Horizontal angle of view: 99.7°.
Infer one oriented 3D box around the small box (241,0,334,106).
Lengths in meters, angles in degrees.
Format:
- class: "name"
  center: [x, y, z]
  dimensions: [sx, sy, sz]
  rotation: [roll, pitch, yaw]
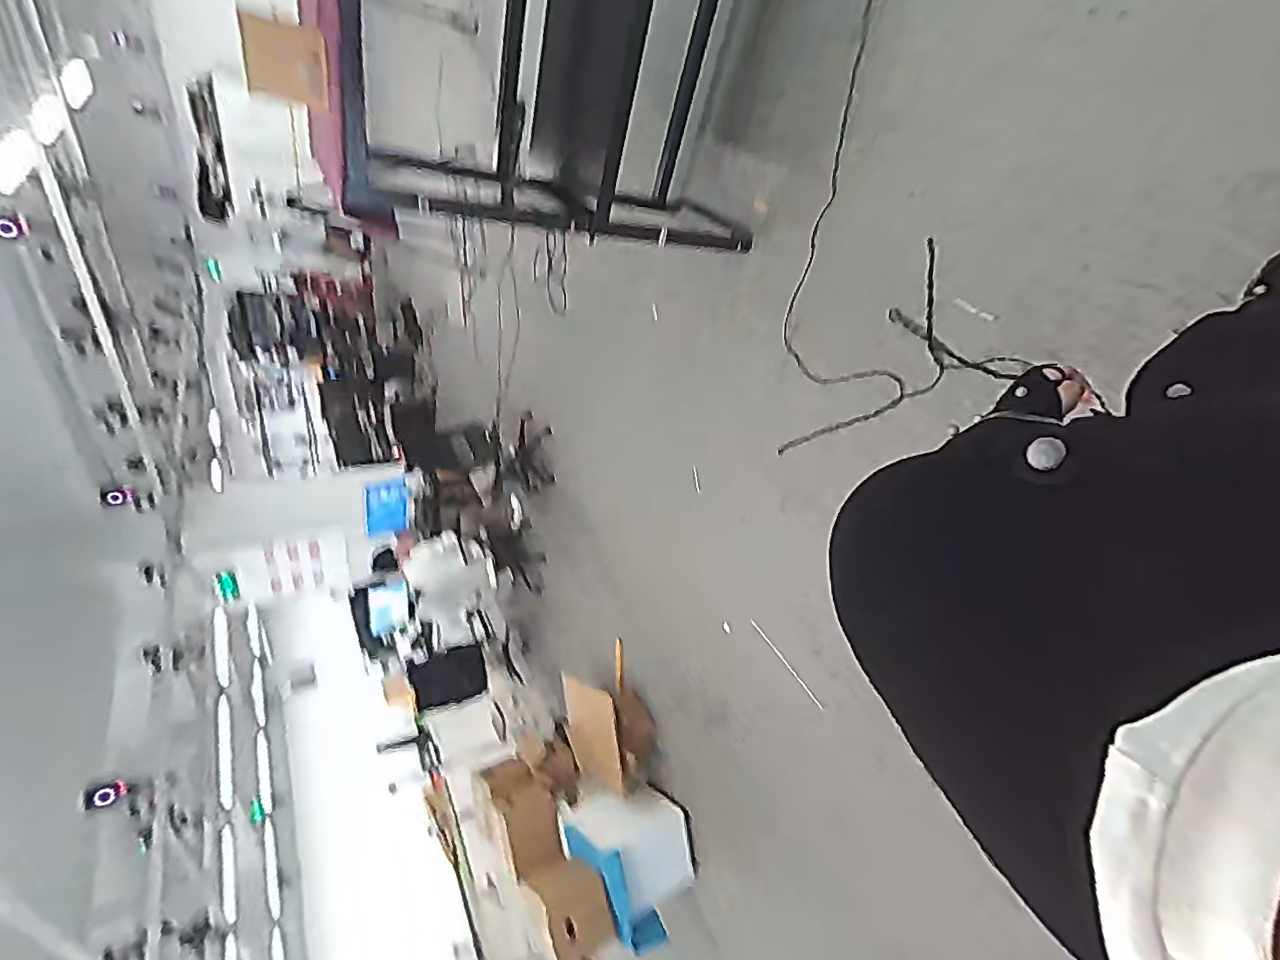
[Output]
- class: "small box"
  center: [-0.832, -1.014, 1.283]
  dimensions: [0.179, 0.176, 0.168]
  rotation: [51, 137, 39]
